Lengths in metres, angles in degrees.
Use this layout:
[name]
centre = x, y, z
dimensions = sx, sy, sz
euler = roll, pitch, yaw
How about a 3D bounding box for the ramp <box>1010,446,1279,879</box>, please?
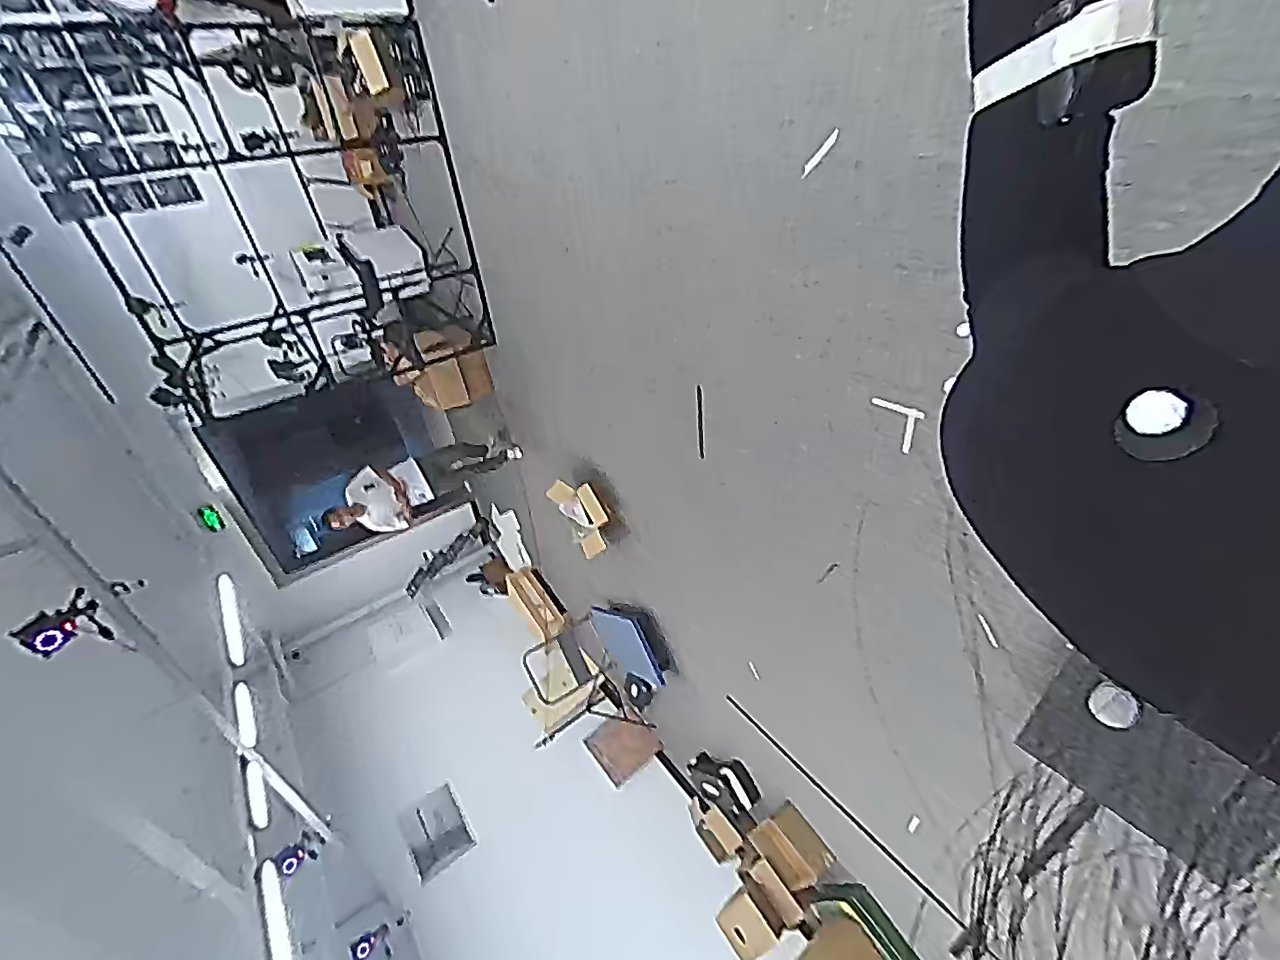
[ramp]
centre = 1.313, 0.451, 1.257
dimensions = 0.509, 0.206, 0.991
euler = 35, 141, 44
